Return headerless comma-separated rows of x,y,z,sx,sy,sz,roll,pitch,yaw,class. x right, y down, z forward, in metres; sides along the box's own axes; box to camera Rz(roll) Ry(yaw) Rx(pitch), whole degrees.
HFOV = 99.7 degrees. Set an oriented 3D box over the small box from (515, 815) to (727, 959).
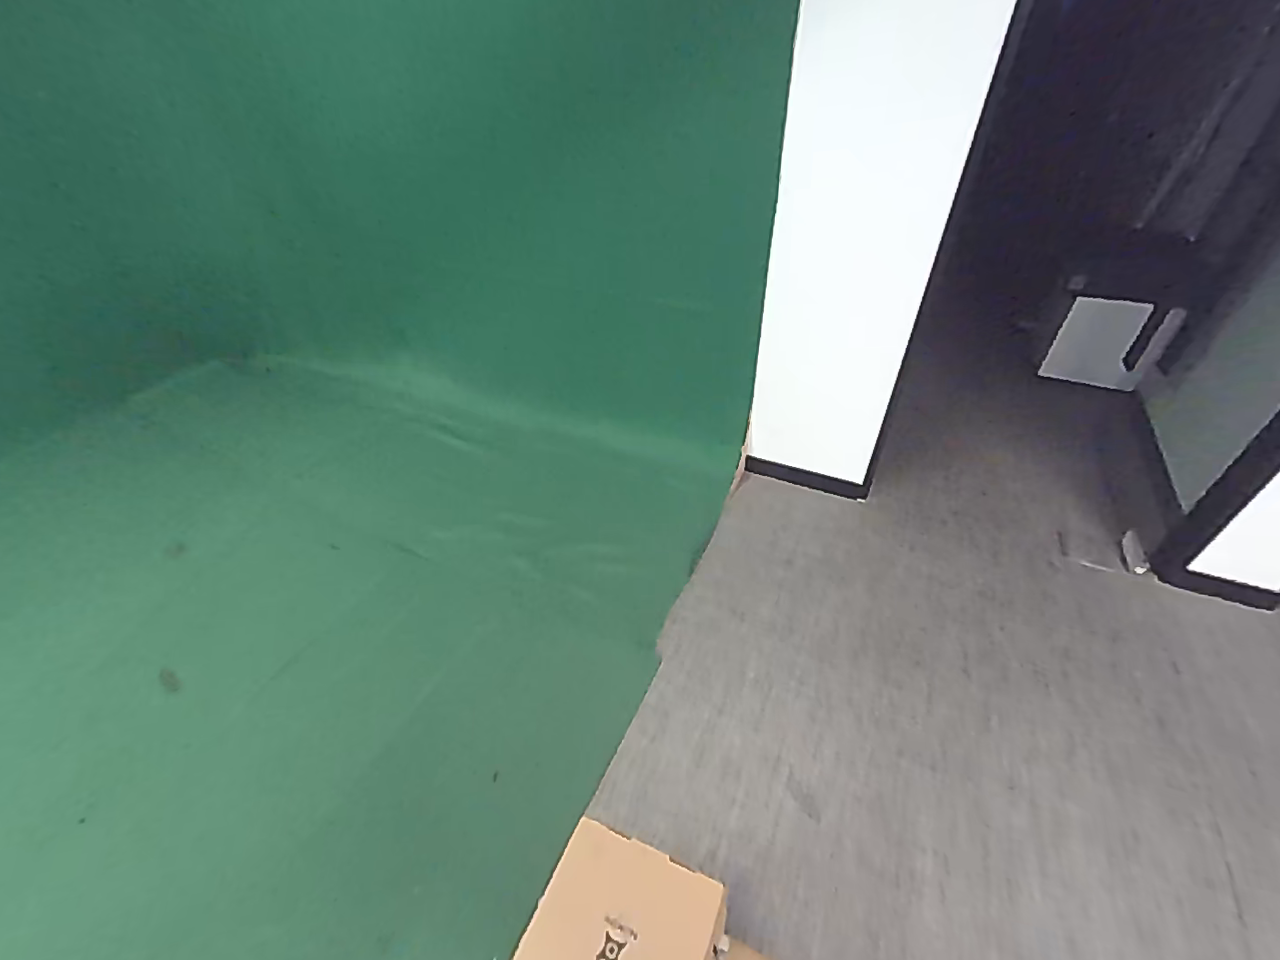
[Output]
-0.016,0.499,0.561,0.168,0.176,0.179,13,44,23,small box
